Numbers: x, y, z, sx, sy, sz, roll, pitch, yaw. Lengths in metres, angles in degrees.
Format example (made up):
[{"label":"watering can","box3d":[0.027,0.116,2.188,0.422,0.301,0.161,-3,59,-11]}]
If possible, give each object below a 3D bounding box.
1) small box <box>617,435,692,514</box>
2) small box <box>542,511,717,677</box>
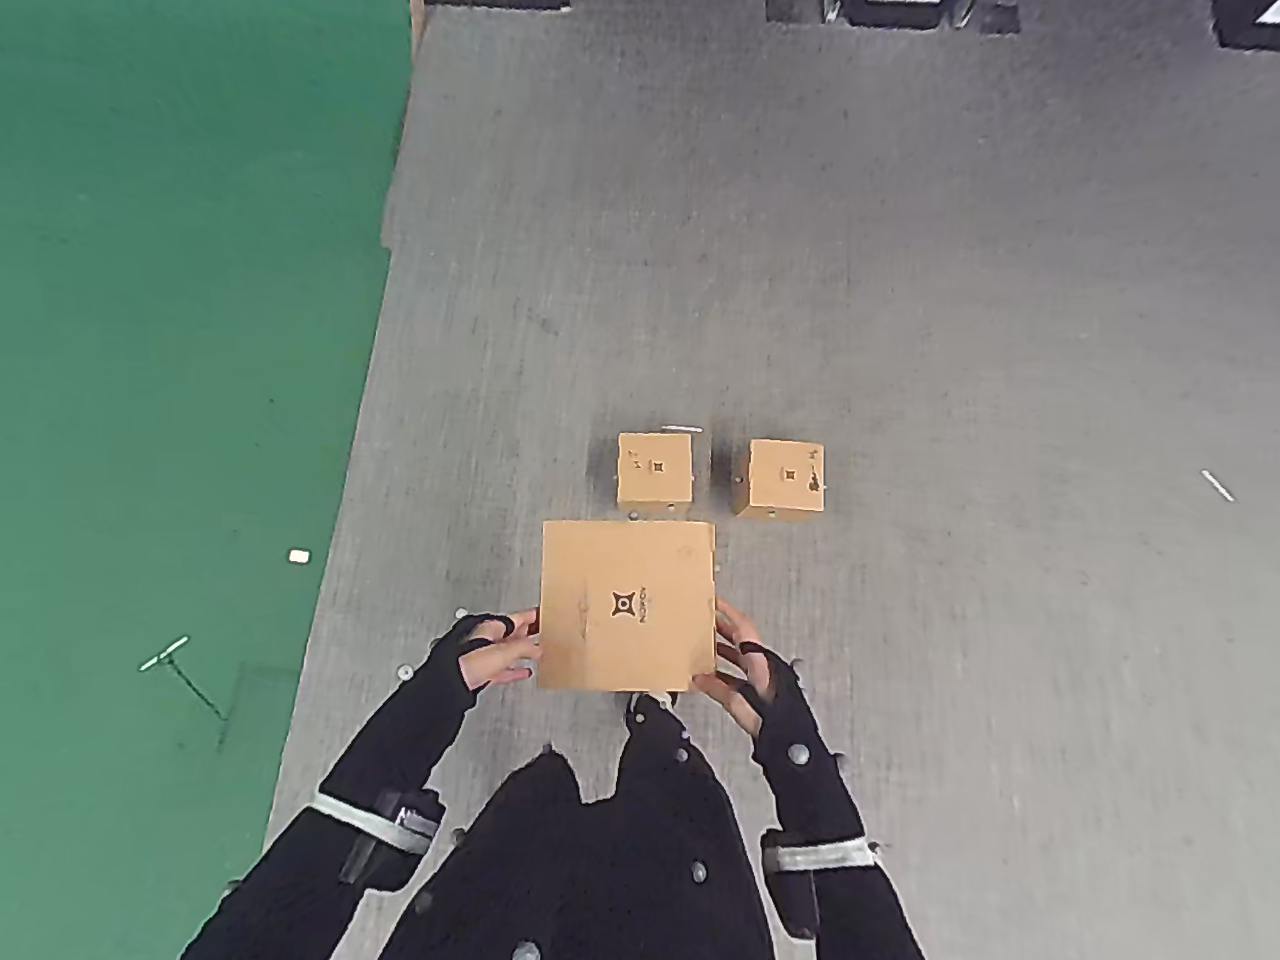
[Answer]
[{"label":"small box","box3d":[0.036,-0.009,1.354,0.179,0.176,0.168,1,76,1]},{"label":"small box","box3d":[-0.009,0.127,0.628,0.179,0.176,0.168,0,80,1]}]
